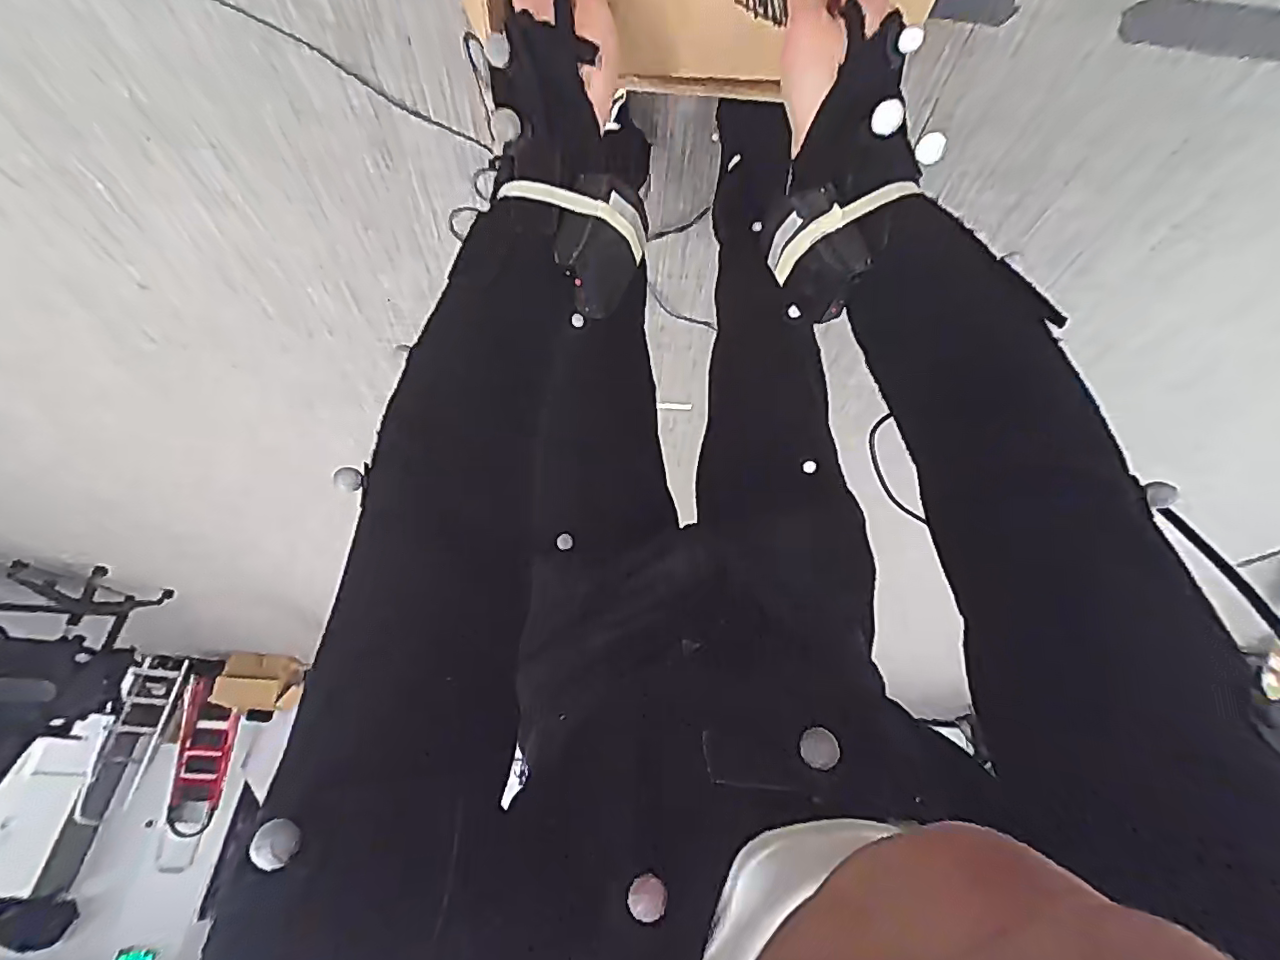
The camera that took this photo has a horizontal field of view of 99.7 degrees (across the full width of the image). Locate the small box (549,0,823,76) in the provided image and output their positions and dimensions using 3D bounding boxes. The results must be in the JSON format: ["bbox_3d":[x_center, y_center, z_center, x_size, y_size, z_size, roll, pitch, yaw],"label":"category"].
[{"bbox_3d":[0.030,-0.391,0.350,0.179,0.176,0.168,1,145,2],"label":"small box"}]
